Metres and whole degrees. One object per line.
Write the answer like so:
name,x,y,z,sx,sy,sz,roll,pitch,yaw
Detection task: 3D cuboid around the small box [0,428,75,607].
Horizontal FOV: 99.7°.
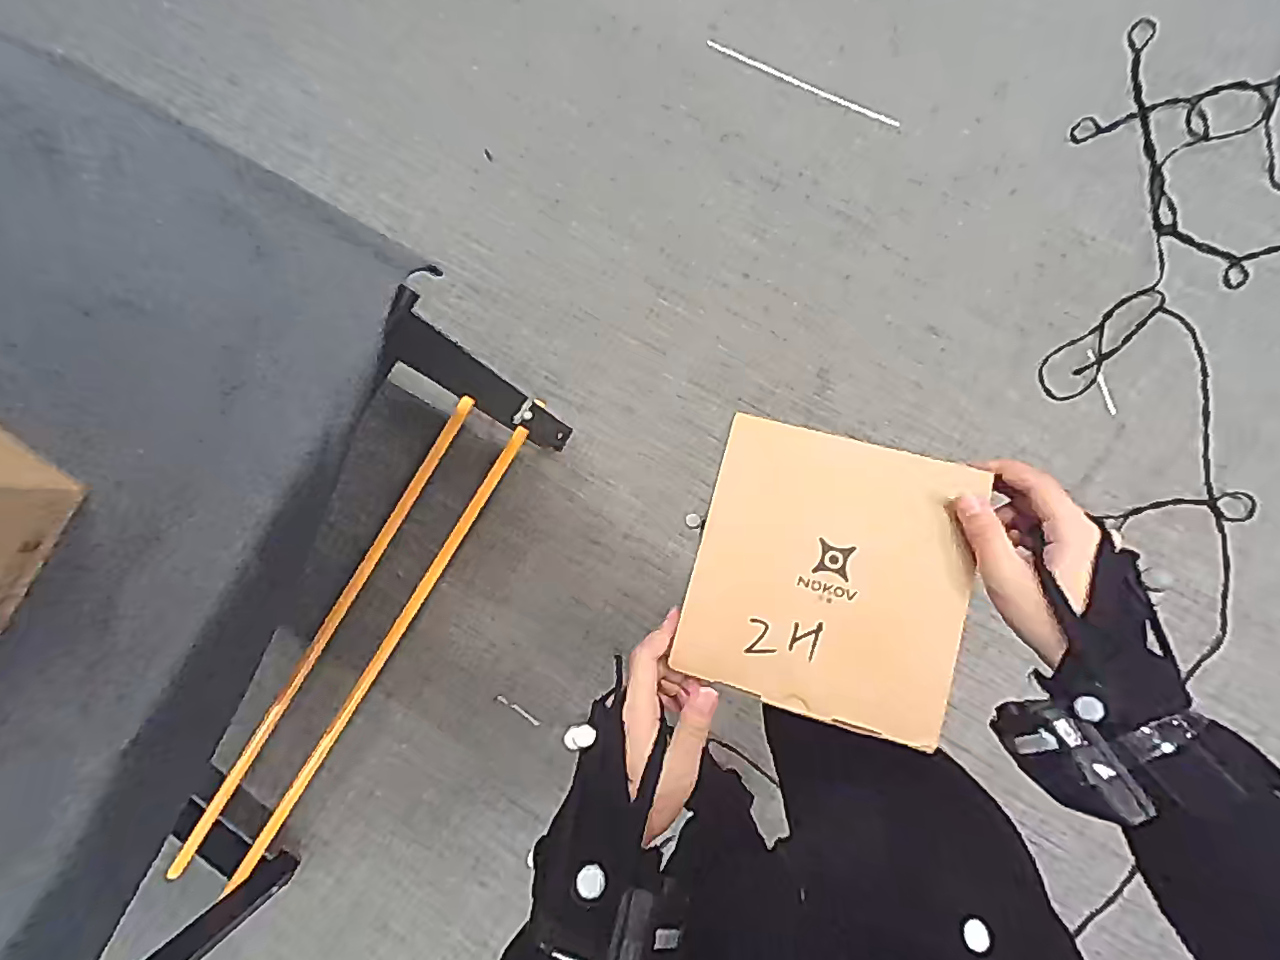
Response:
small box,-0.634,0.027,0.431,0.179,0.176,0.168,30,88,8
